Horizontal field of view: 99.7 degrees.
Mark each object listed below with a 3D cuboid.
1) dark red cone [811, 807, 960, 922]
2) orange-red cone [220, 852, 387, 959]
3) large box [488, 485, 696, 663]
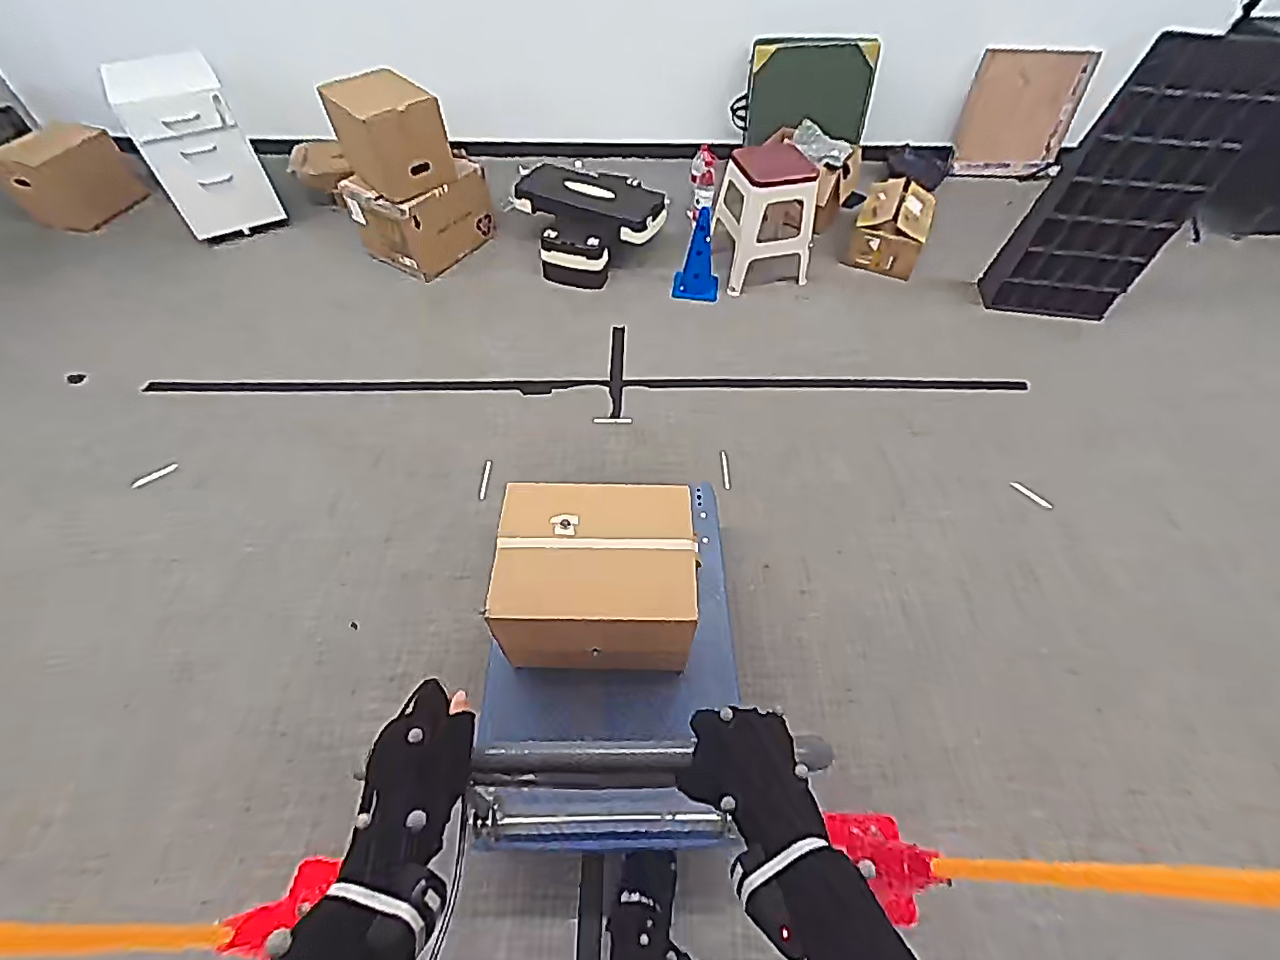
[{"bbox_3d":[0.489,0.728,1.032,0.201,0.394,0.202,2,54,-2],"label":"dark red cone"},{"bbox_3d":[-0.643,0.793,0.980,0.198,0.360,0.199,7,52,3],"label":"orange-red cone"},{"bbox_3d":[-0.092,0.222,1.231,0.408,0.320,0.320,1,54,0],"label":"large box"}]
